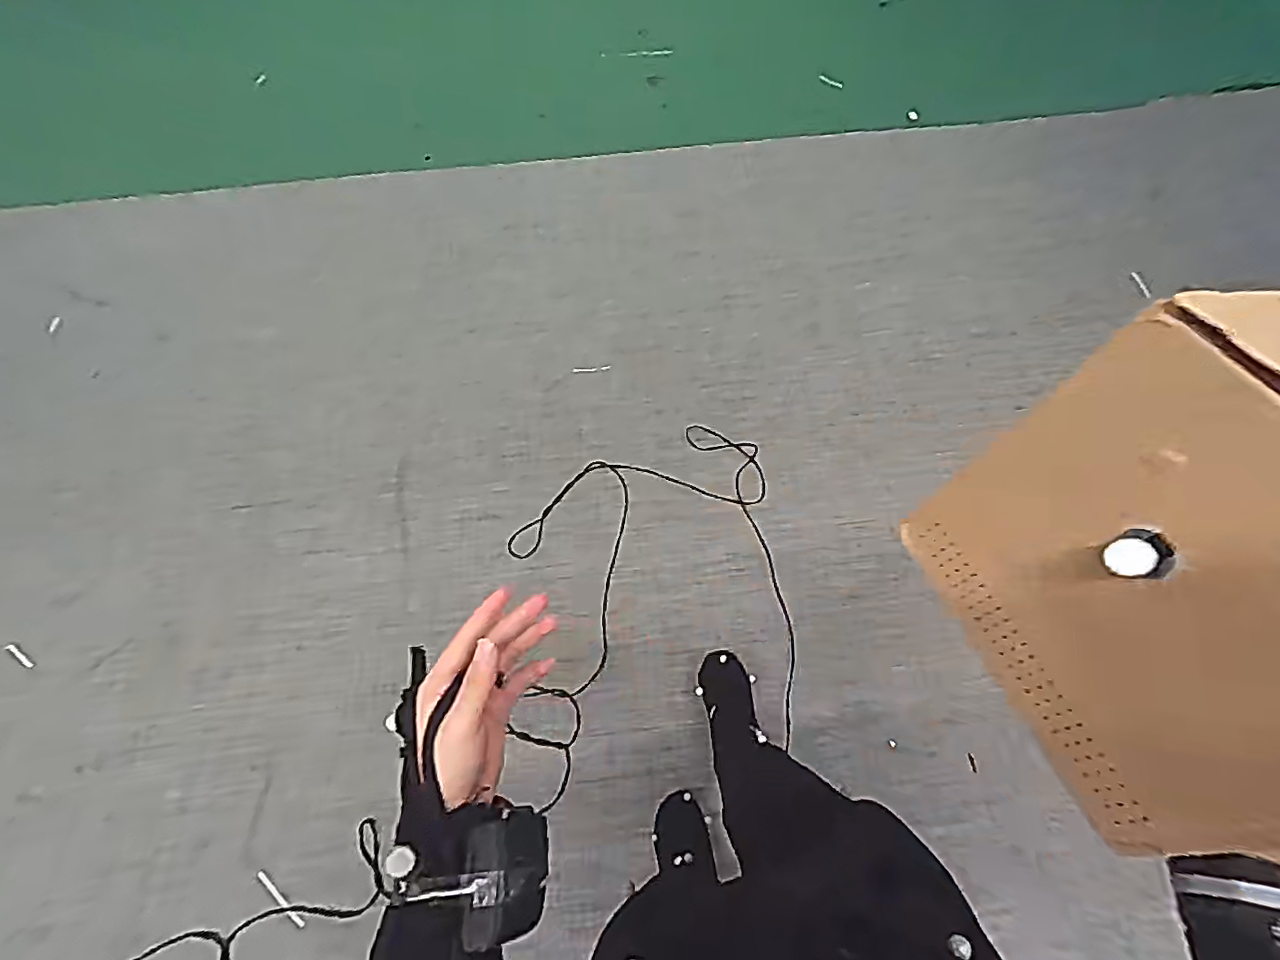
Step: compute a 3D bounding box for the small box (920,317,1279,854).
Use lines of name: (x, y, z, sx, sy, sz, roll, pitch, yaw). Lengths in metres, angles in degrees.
small box: (0.280, 0.045, 0.255, 0.168, 0.176, 0.179, -10, 56, -21)
